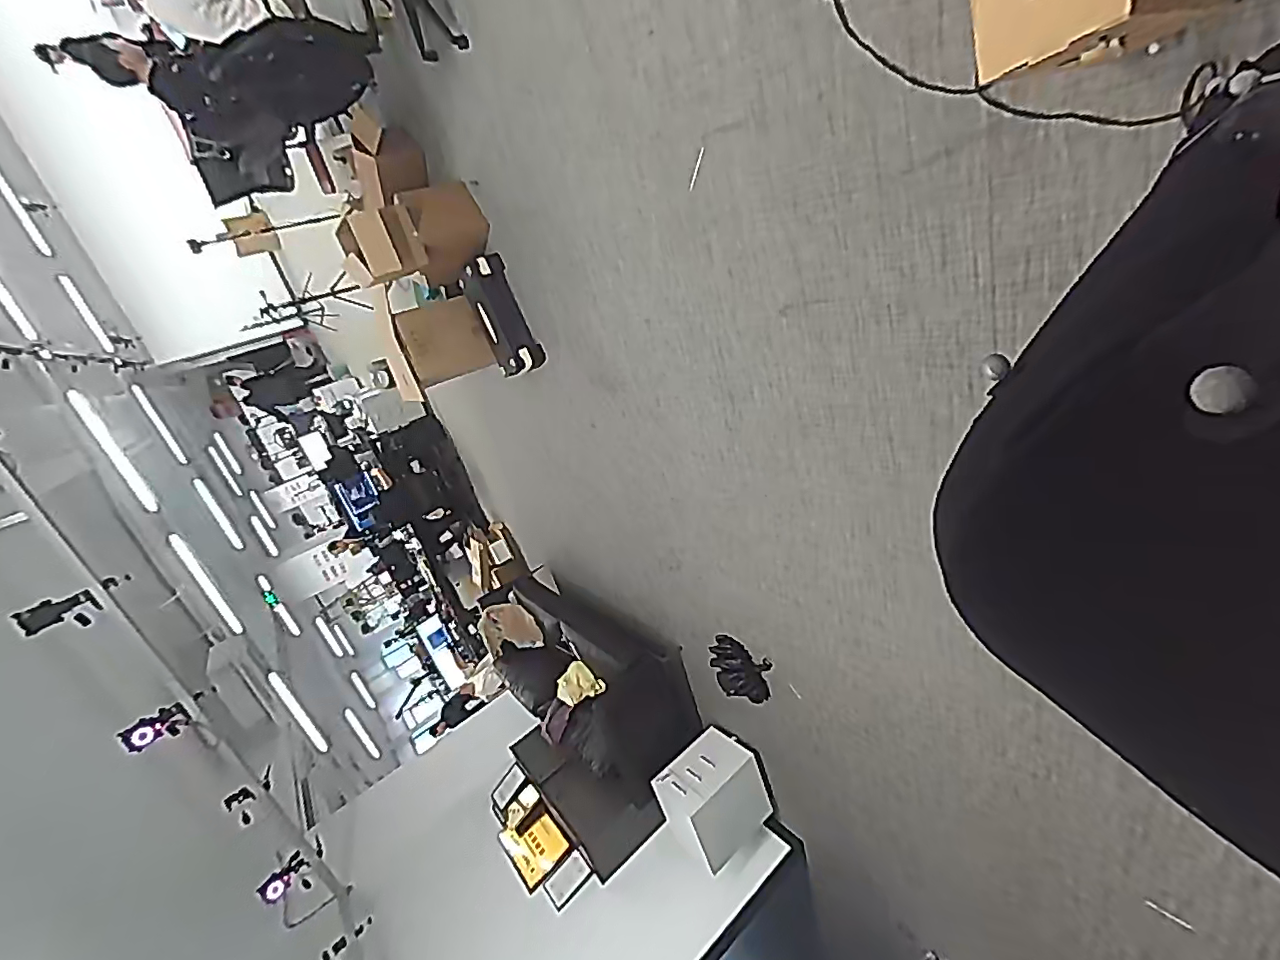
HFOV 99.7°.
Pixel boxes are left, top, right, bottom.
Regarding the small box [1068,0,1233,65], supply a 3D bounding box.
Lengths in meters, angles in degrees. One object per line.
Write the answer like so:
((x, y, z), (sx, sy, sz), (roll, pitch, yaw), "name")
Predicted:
((0.804, -0.798, 0.850), (0.168, 0.176, 0.179), (4, 121, 57), "small box")
